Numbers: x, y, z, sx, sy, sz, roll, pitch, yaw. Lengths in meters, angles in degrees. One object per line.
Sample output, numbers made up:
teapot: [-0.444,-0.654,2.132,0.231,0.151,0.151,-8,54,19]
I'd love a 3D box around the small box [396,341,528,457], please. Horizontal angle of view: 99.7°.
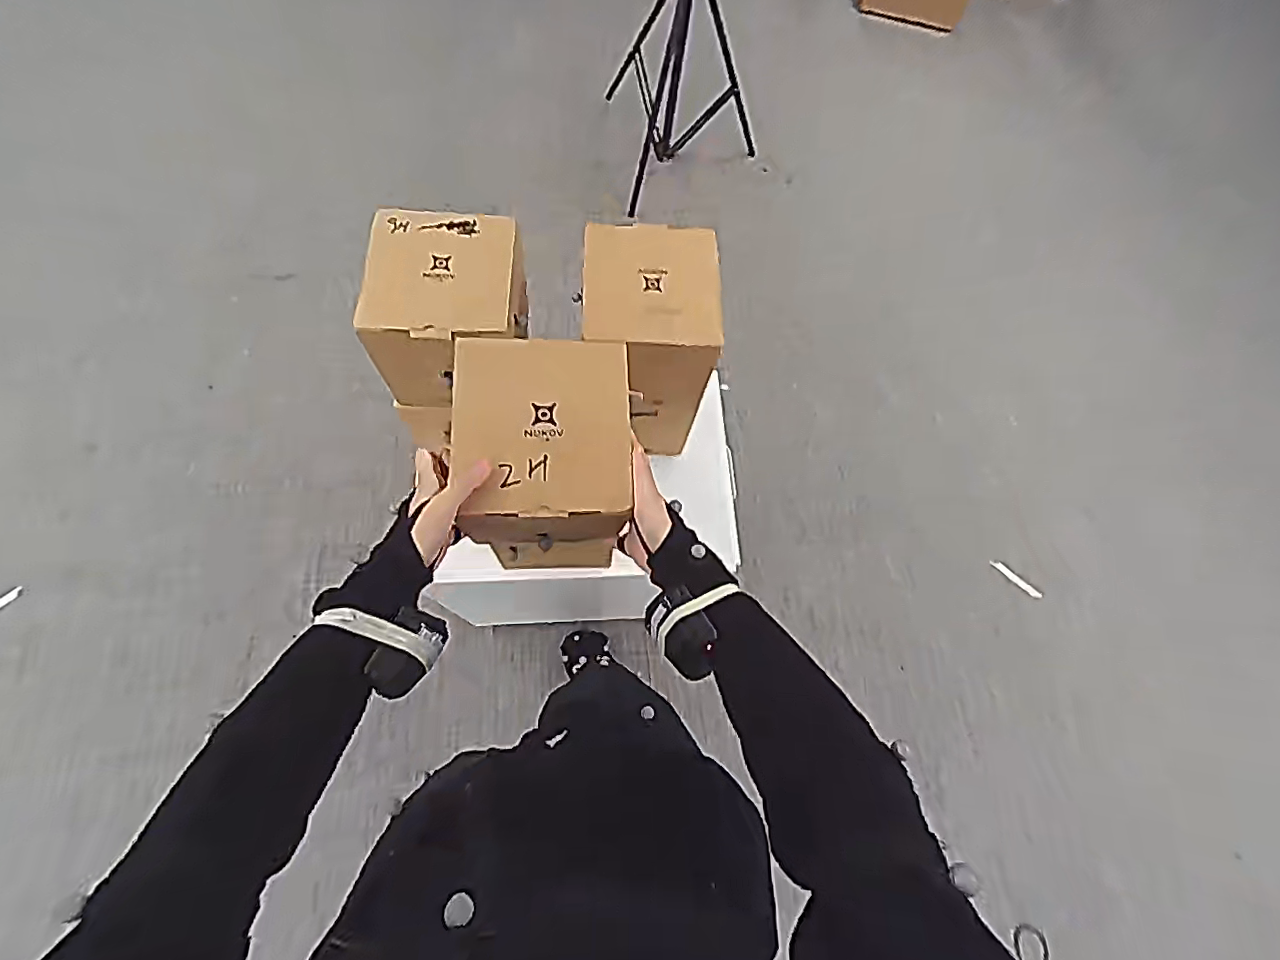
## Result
small box: [-0.258,-0.139,0.842,0.168,0.176,0.179,2,69,-6]

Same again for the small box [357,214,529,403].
small box: [-0.235,-0.206,0.694,0.168,0.176,0.179,1,69,-6]

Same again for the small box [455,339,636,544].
small box: [-0.099,-0.031,0.588,0.168,0.176,0.179,0,75,-9]

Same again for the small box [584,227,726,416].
small box: [0.010,-0.202,0.718,0.168,0.176,0.179,0,71,-5]
